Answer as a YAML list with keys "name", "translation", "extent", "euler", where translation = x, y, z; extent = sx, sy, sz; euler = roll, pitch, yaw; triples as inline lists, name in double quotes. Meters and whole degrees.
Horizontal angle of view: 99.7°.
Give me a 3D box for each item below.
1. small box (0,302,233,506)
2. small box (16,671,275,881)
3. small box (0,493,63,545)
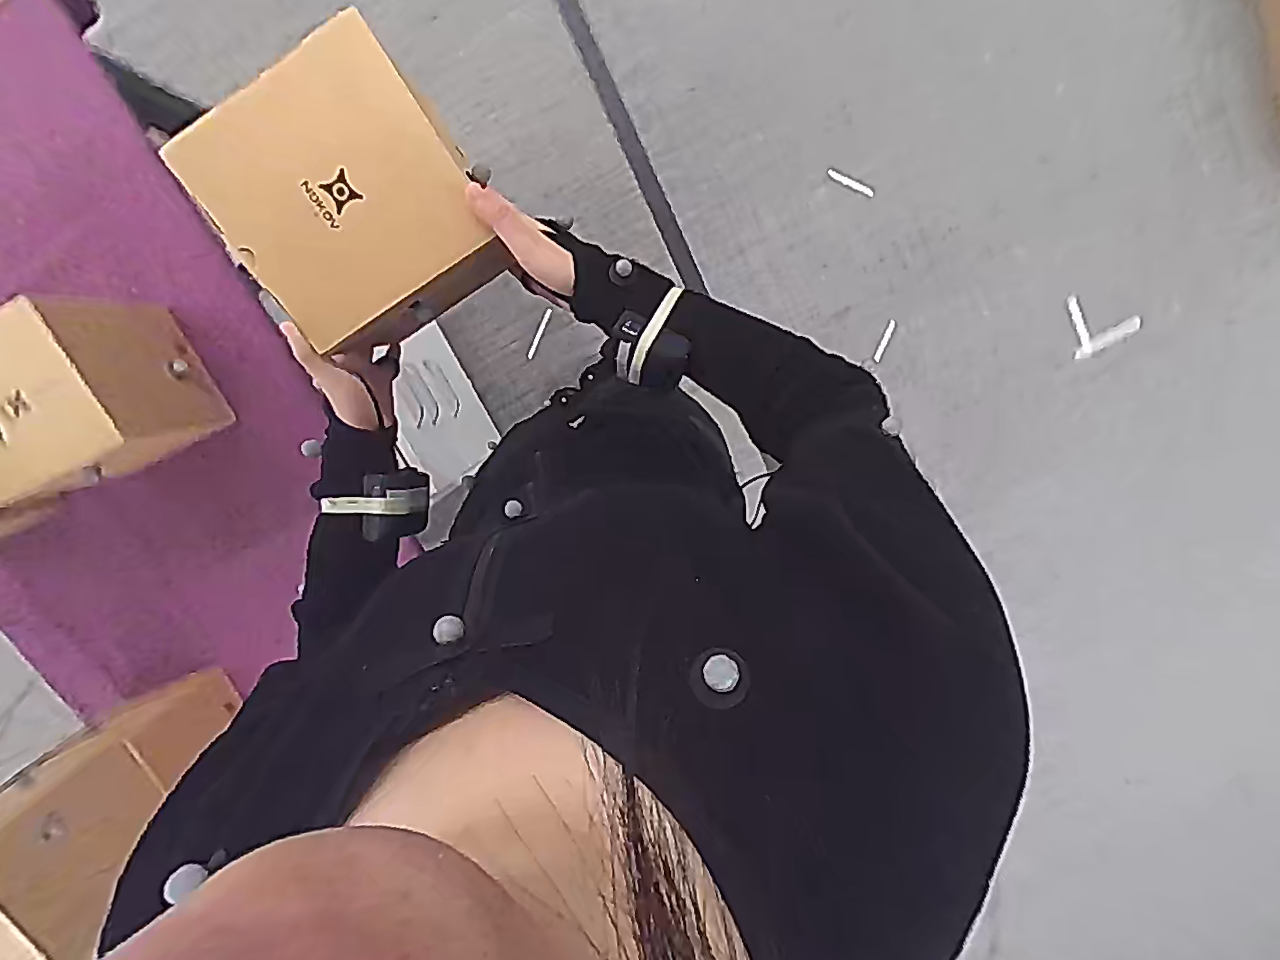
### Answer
- name: "small box"
  translation: [-0.654, -0.094, 0.645]
  extent: [0.179, 0.176, 0.168]
  euler: [-24, 103, 6]
- name: "small box"
  translation: [-0.680, 0.409, 0.770]
  extent: [0.179, 0.176, 0.168]
  euler: [-22, 104, 3]
- name: "small box"
  translation: [-0.913, 0.018, 0.673]
  extent: [0.168, 0.176, 0.179]
  euler: [-24, 103, 5]
